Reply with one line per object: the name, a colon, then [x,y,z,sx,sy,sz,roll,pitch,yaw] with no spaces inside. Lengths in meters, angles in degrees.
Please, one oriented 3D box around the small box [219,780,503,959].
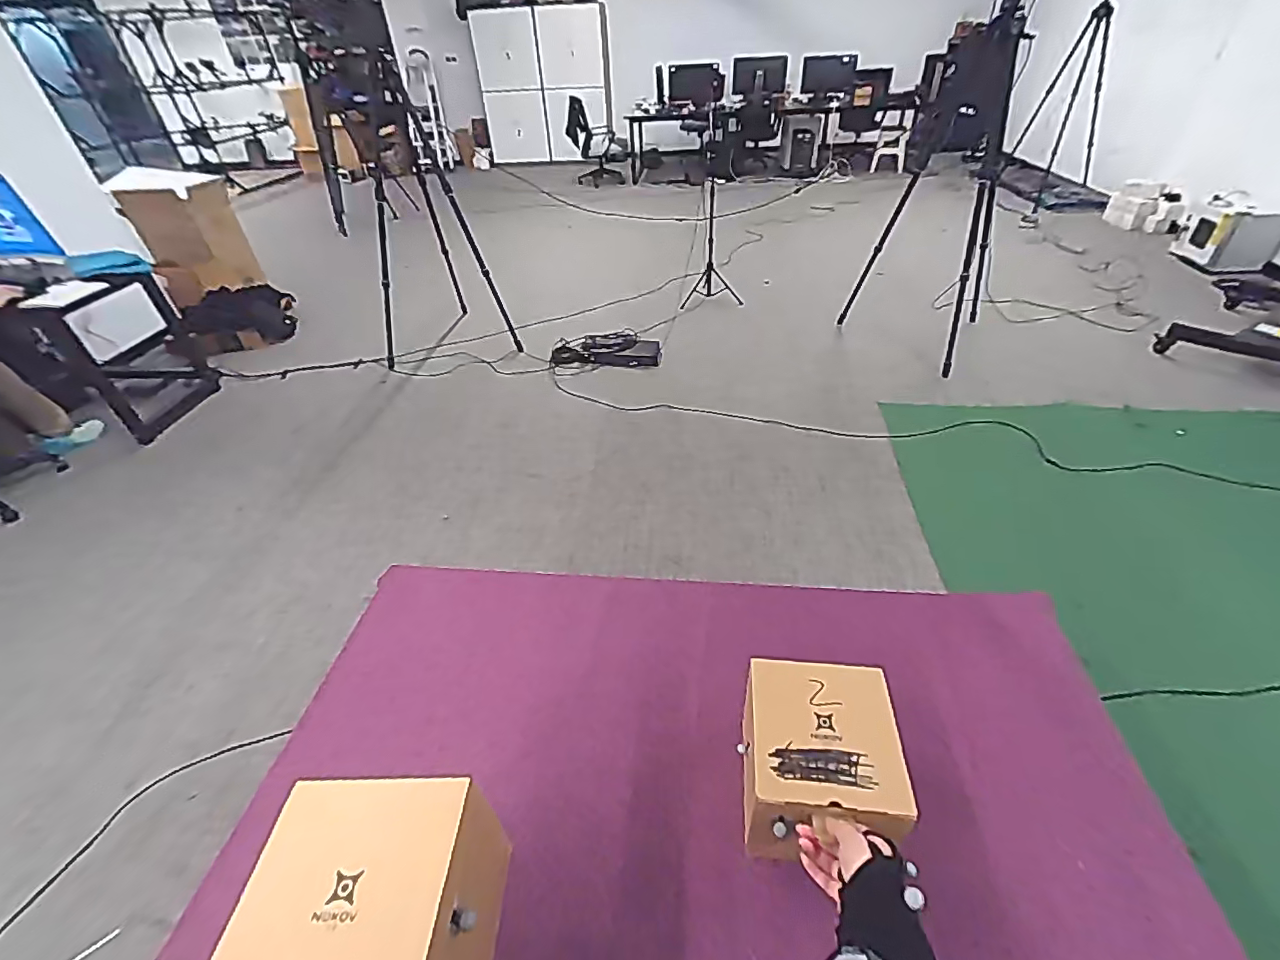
small box: [-0.232,0.399,0.489,0.168,0.176,0.179,-3,39,3]
